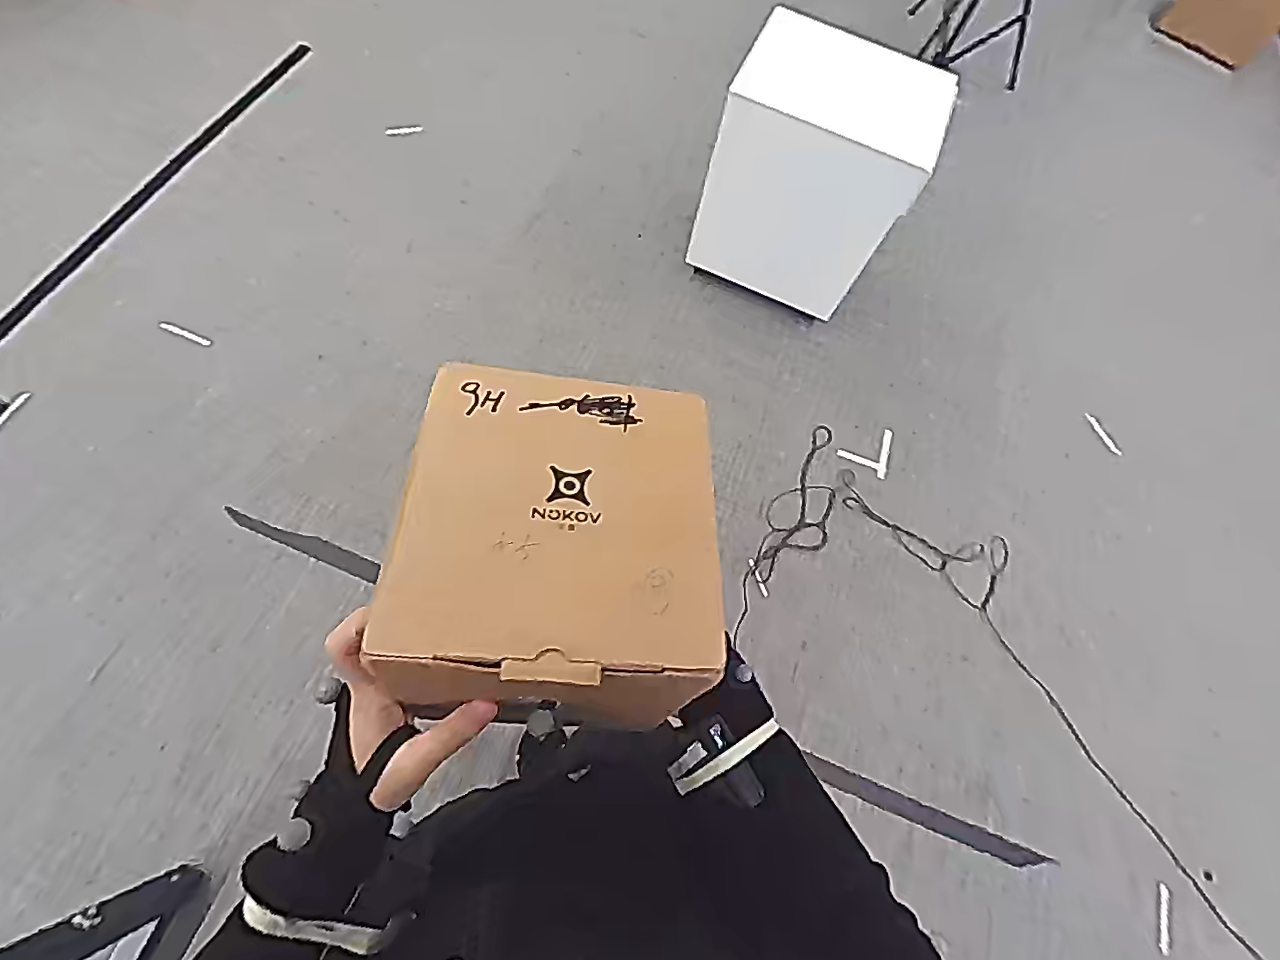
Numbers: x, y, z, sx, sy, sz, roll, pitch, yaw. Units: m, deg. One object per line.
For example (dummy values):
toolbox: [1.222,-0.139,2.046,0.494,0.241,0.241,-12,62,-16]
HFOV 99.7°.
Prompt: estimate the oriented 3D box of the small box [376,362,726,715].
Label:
small box: [-0.051,0.052,0.359,0.168,0.176,0.179,6,58,-10]
